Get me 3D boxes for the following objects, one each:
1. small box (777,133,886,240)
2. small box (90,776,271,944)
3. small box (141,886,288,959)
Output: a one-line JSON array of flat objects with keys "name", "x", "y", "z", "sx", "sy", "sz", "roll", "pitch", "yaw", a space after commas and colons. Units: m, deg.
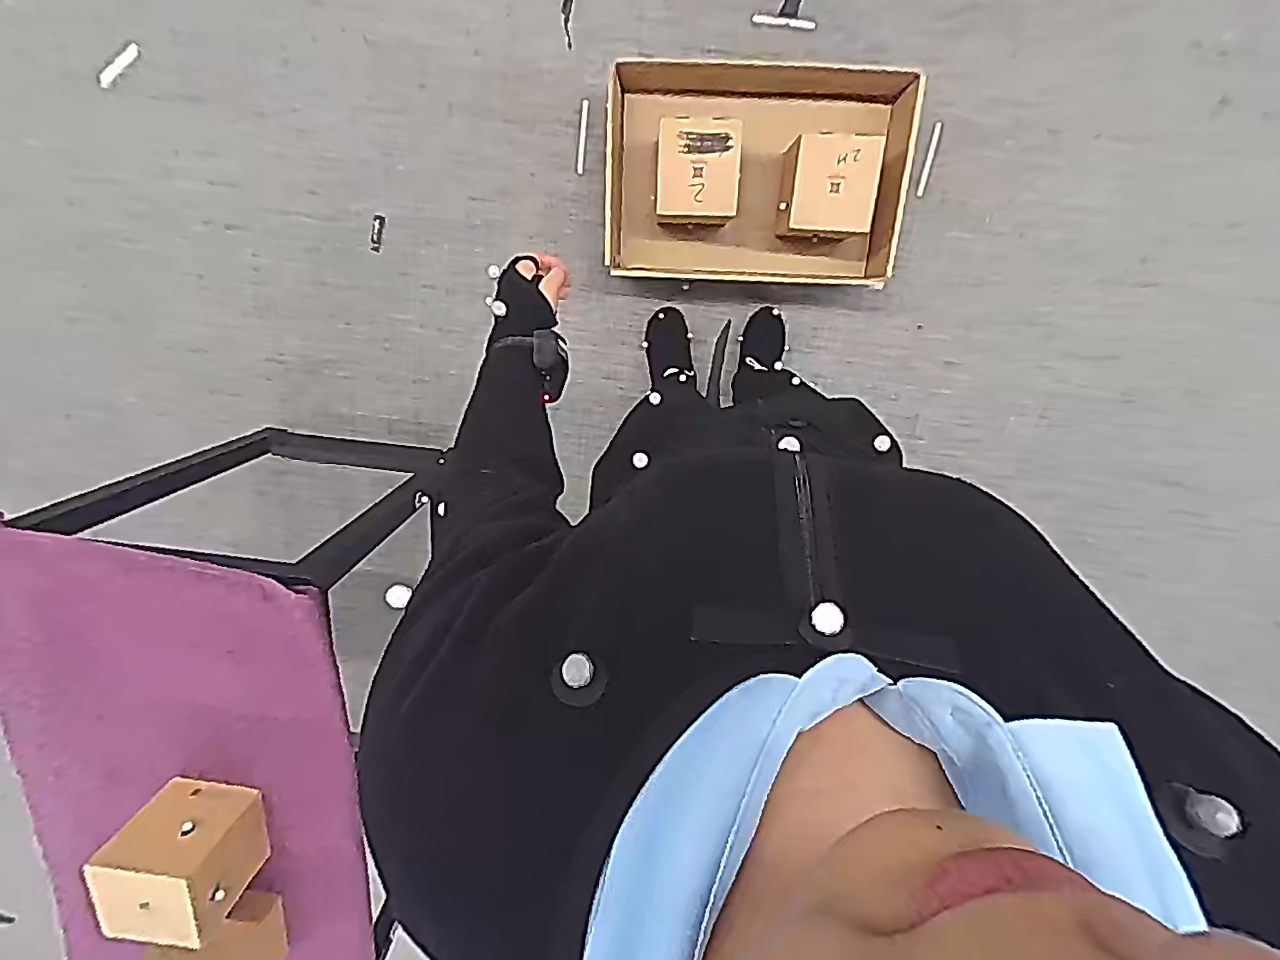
[{"name": "small box", "x": 0.397, "y": -0.617, "z": 1.158, "sx": 0.168, "sy": 0.176, "sz": 0.179, "roll": 4, "pitch": 109, "yaw": 1}, {"name": "small box", "x": -0.787, "y": 0.656, "z": 0.948, "sx": 0.168, "sy": 0.176, "sz": 0.179, "roll": 8, "pitch": 110, "yaw": 0}, {"name": "small box", "x": -0.814, "y": 0.924, "z": 1.041, "sx": 0.168, "sy": 0.176, "sz": 0.179, "roll": 7, "pitch": 109, "yaw": 0}]
